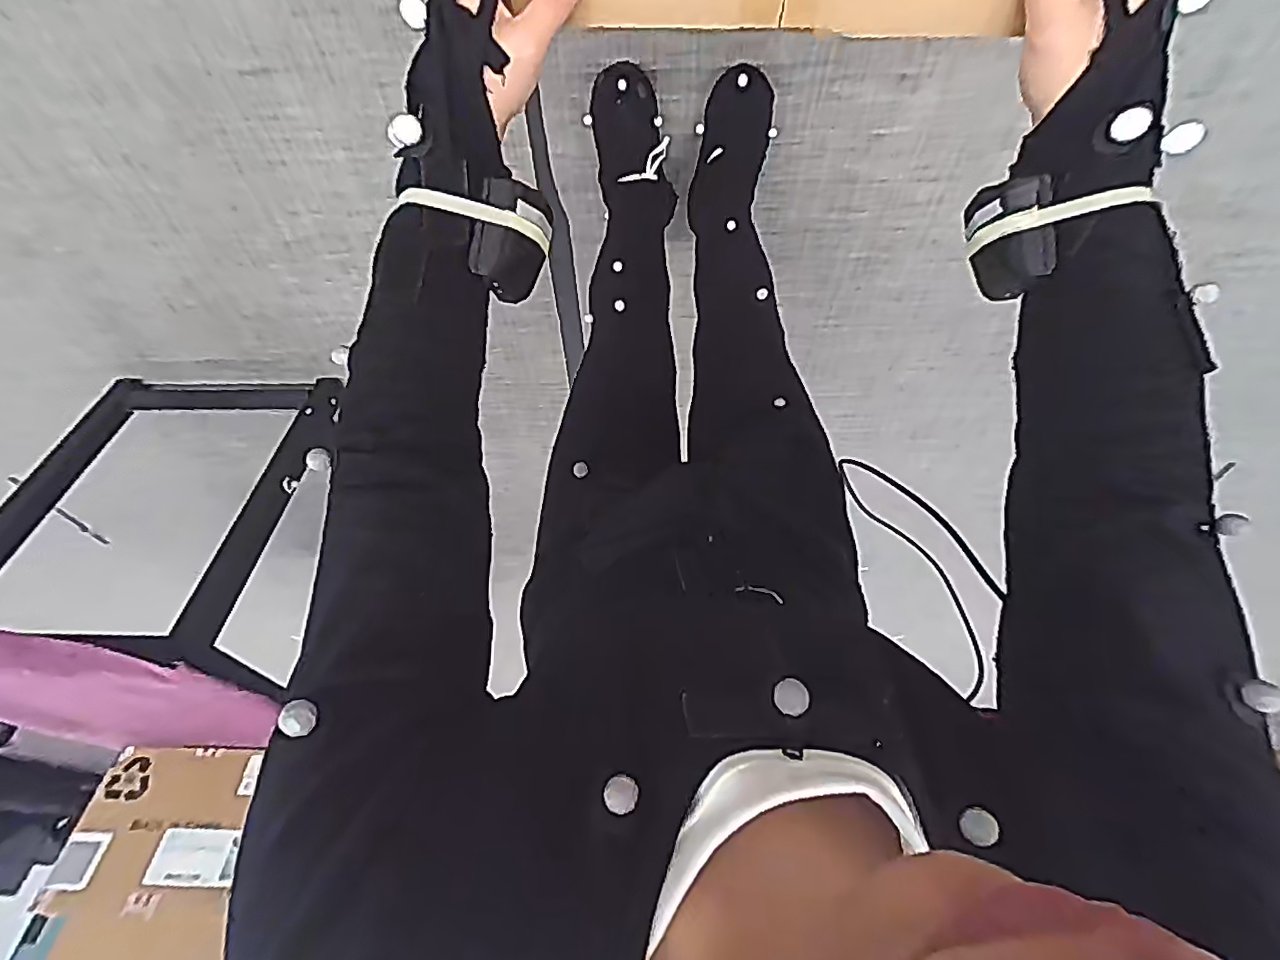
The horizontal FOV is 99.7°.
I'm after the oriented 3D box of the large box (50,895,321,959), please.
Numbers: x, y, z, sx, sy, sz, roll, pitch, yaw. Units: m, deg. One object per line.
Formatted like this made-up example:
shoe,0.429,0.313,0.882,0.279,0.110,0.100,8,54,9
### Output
large box,-1.026,1.128,1.201,0.408,0.320,0.320,1,146,1
